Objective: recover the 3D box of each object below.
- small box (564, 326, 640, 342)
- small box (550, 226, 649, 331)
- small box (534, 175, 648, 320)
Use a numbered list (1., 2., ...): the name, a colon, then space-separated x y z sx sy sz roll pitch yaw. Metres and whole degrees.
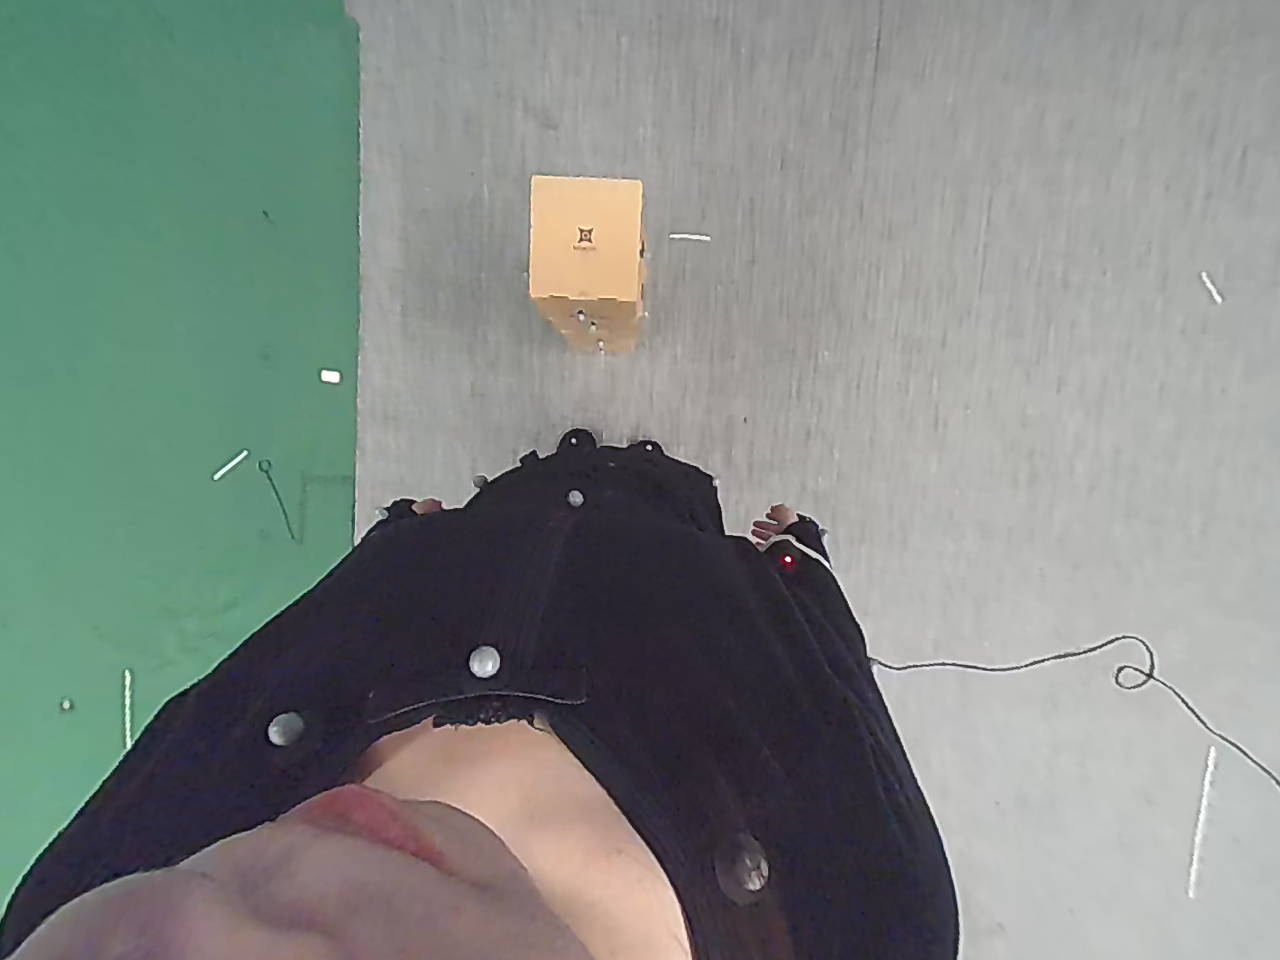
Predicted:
1. small box: -0.082 -0.412 1.214 0.168 0.176 0.179 0 97 1
2. small box: -0.074 -0.389 1.051 0.179 0.176 0.168 2 96 1
3. small box: -0.076 -0.371 0.889 0.168 0.176 0.179 3 97 0
